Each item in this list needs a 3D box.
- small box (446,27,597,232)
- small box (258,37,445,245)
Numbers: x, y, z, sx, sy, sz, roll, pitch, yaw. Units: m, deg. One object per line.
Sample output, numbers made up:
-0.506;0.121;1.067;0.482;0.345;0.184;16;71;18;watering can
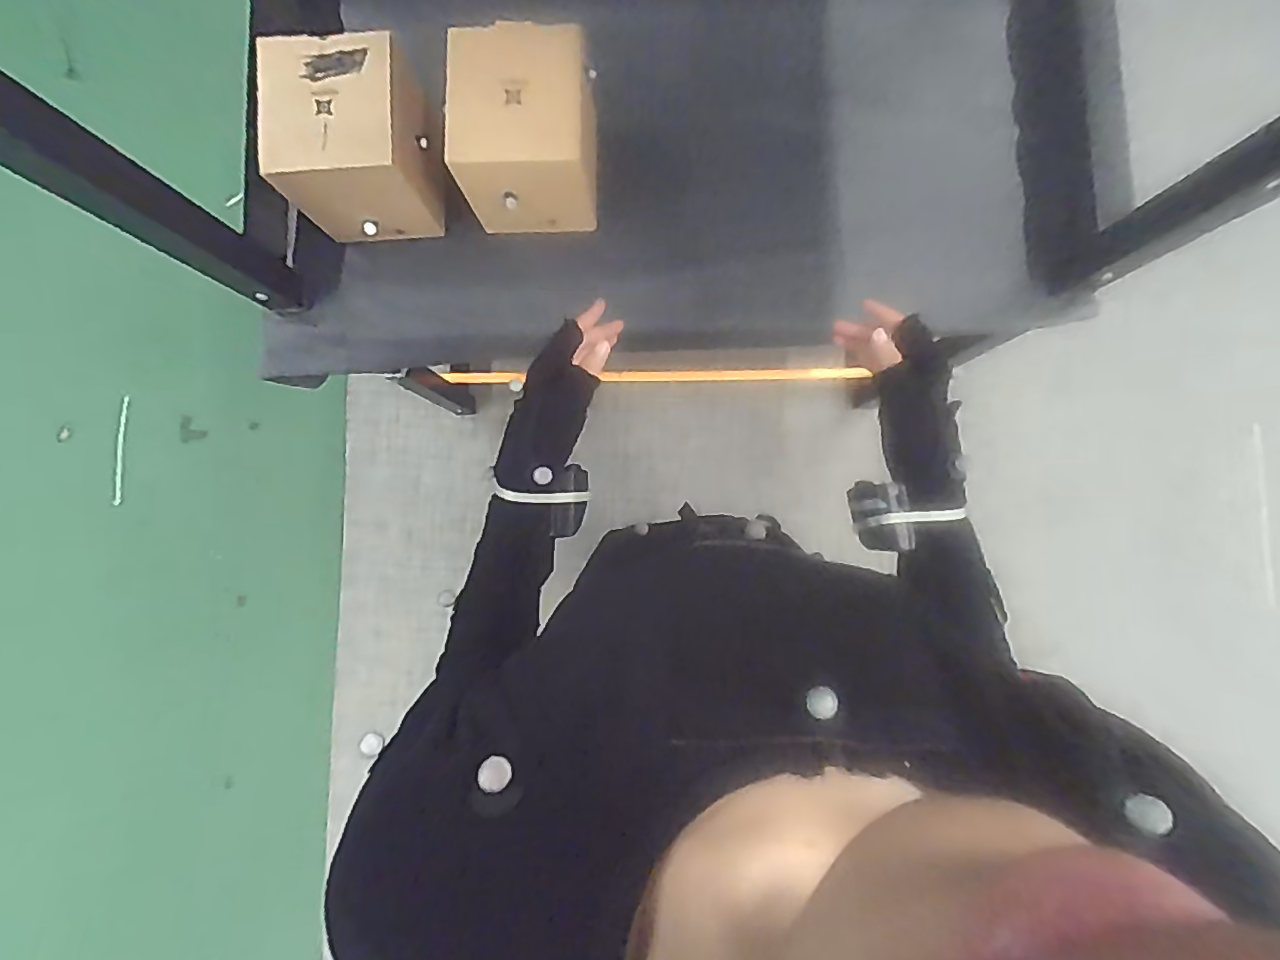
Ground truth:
-0.147;-0.454;0.729;0.168;0.176;0.179;-1;85;2;small box
-0.375;-0.445;0.732;0.168;0.176;0.179;-2;85;1;small box
